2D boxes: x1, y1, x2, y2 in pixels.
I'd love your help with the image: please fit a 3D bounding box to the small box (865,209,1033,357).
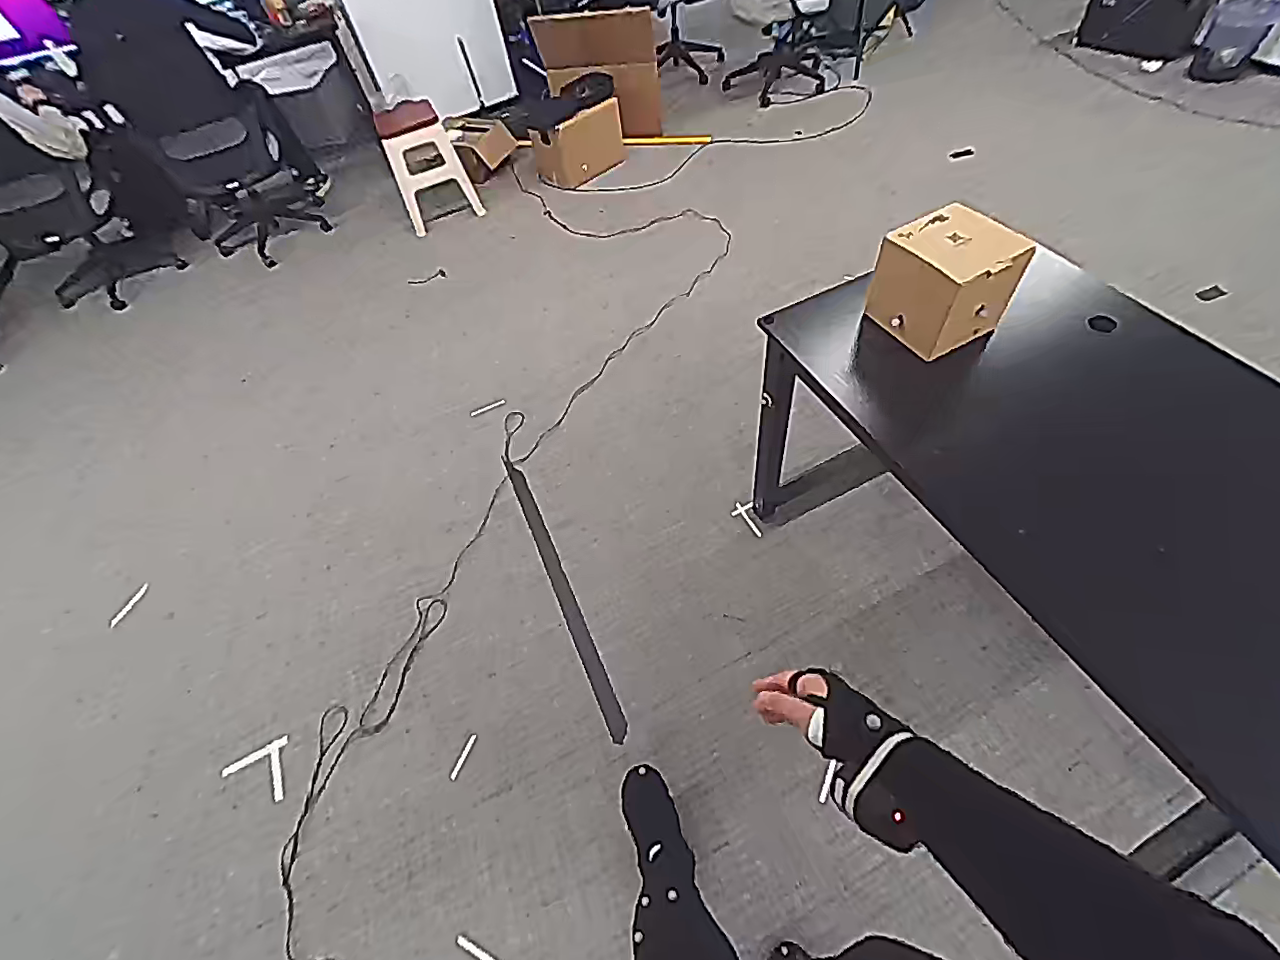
[{"bbox_3d":[0.543,-0.347,0.979,0.168,0.176,0.179,-26,57,-11],"label":"small box"}]
